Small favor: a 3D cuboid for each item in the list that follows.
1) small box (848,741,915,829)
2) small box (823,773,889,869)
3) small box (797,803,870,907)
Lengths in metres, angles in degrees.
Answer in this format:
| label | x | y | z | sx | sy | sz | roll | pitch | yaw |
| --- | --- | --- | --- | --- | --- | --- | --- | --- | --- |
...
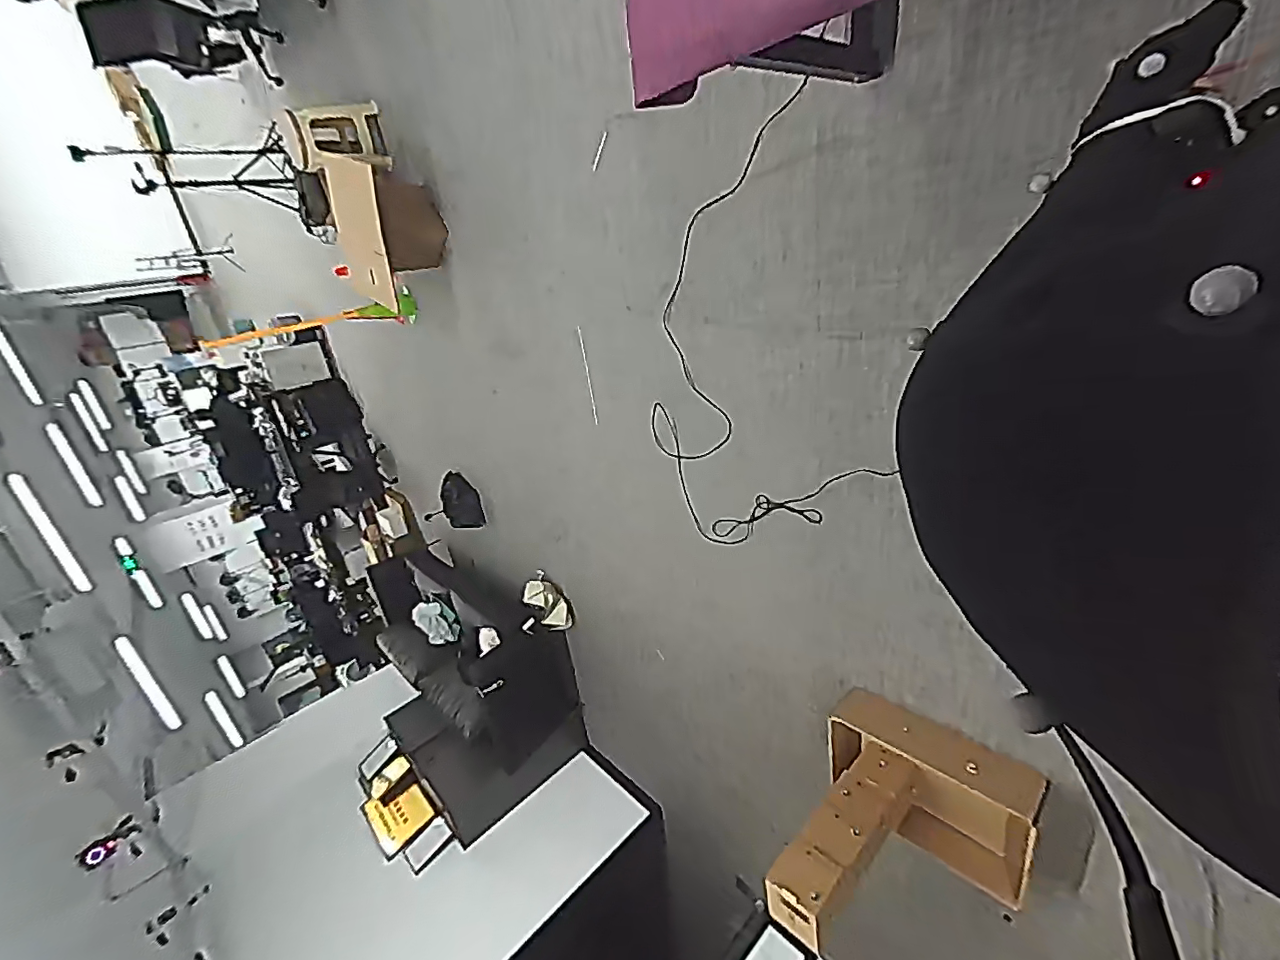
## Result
| label | x | y | z | sx | sy | sz | roll | pitch | yaw |
| --- | --- | --- | --- | --- | --- | --- | --- | --- | --- |
| small box | 0.858 | 1.071 | 1.916 | 0.168 | 0.176 | 0.179 | 8 | 118 | 45 |
| small box | 0.721 | 1.136 | 1.816 | 0.168 | 0.176 | 0.179 | 14 | 122 | 44 |
| small box | 0.617 | 1.183 | 1.722 | 0.168 | 0.176 | 0.179 | 16 | 123 | 45 |
